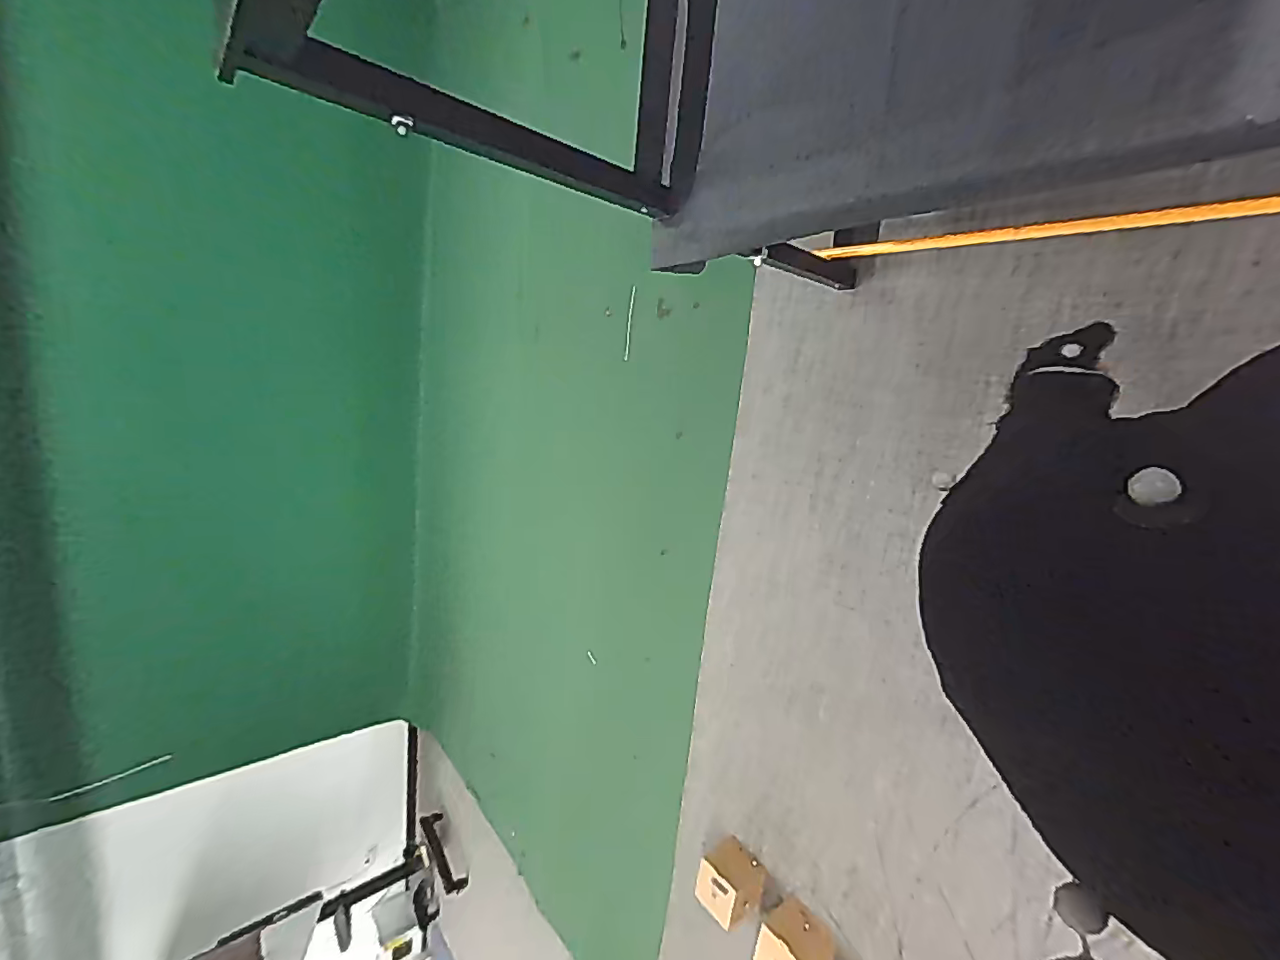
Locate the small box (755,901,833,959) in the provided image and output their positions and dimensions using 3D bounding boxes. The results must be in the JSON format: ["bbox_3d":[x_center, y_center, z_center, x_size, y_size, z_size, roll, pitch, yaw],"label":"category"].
[{"bbox_3d":[0.495,1.524,1.736,0.168,0.176,0.179,22,108,47],"label":"small box"}]

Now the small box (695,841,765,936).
[{"bbox_3d":[0.324,1.446,1.929,0.168,0.176,0.179,21,109,47],"label":"small box"}]
